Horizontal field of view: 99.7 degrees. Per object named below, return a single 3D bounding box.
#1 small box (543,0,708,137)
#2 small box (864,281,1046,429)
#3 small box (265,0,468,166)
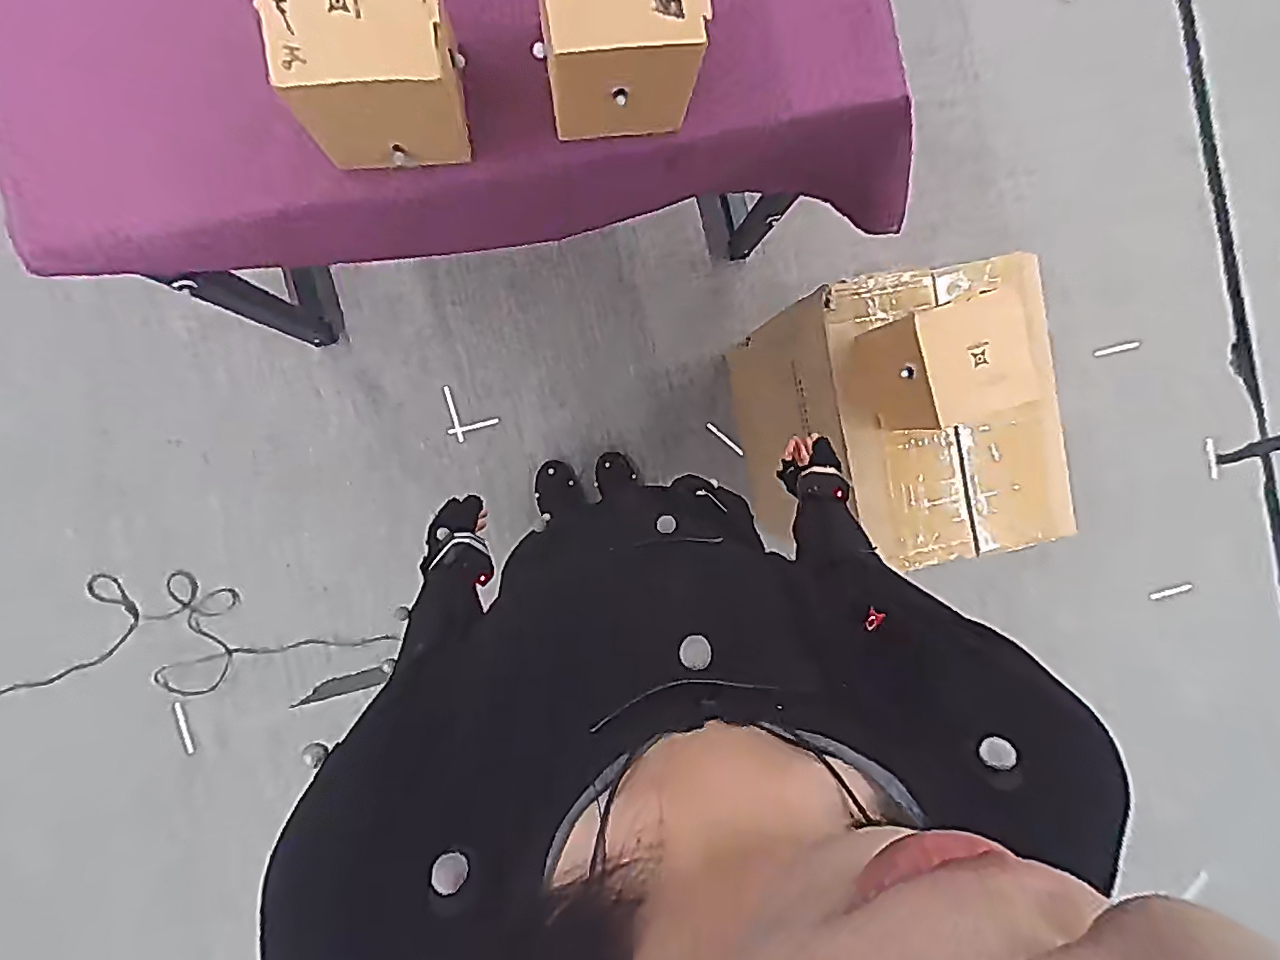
[{"bbox_3d":[-0.027,-0.563,0.676,0.179,0.176,0.168,-9,92,-5],"label":"small box"},{"bbox_3d":[0.483,-0.186,0.855,0.168,0.176,0.179,-18,96,-3],"label":"small box"},{"bbox_3d":[-0.311,-0.503,0.646,0.179,0.176,0.168,-7,92,-7],"label":"small box"}]
